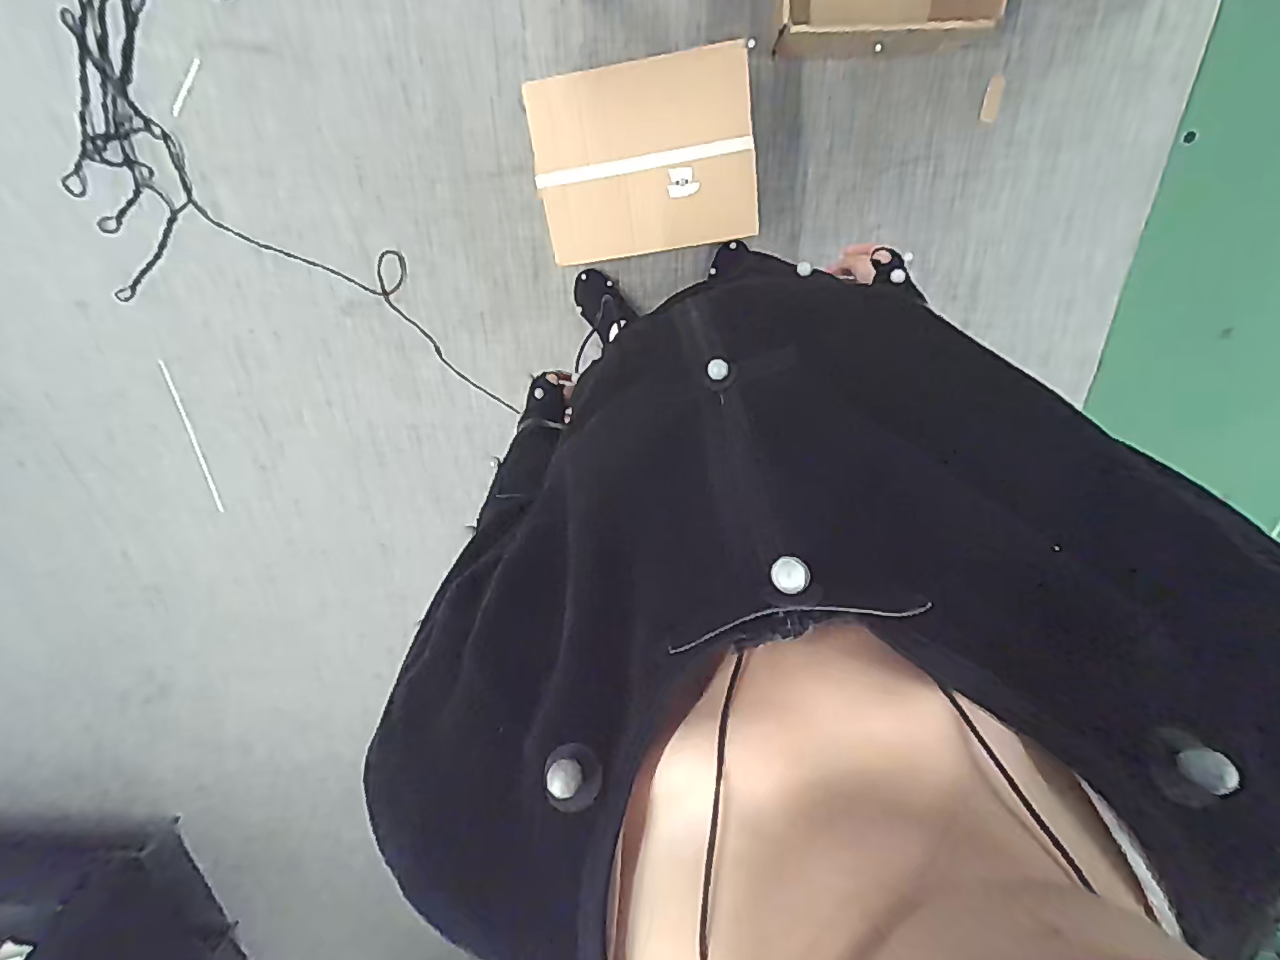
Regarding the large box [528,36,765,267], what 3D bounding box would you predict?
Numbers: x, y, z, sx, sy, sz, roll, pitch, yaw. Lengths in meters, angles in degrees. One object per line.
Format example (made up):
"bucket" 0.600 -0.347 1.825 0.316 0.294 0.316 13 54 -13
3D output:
"large box" 0.024 -0.642 1.127 0.408 0.320 0.320 -7 113 6
